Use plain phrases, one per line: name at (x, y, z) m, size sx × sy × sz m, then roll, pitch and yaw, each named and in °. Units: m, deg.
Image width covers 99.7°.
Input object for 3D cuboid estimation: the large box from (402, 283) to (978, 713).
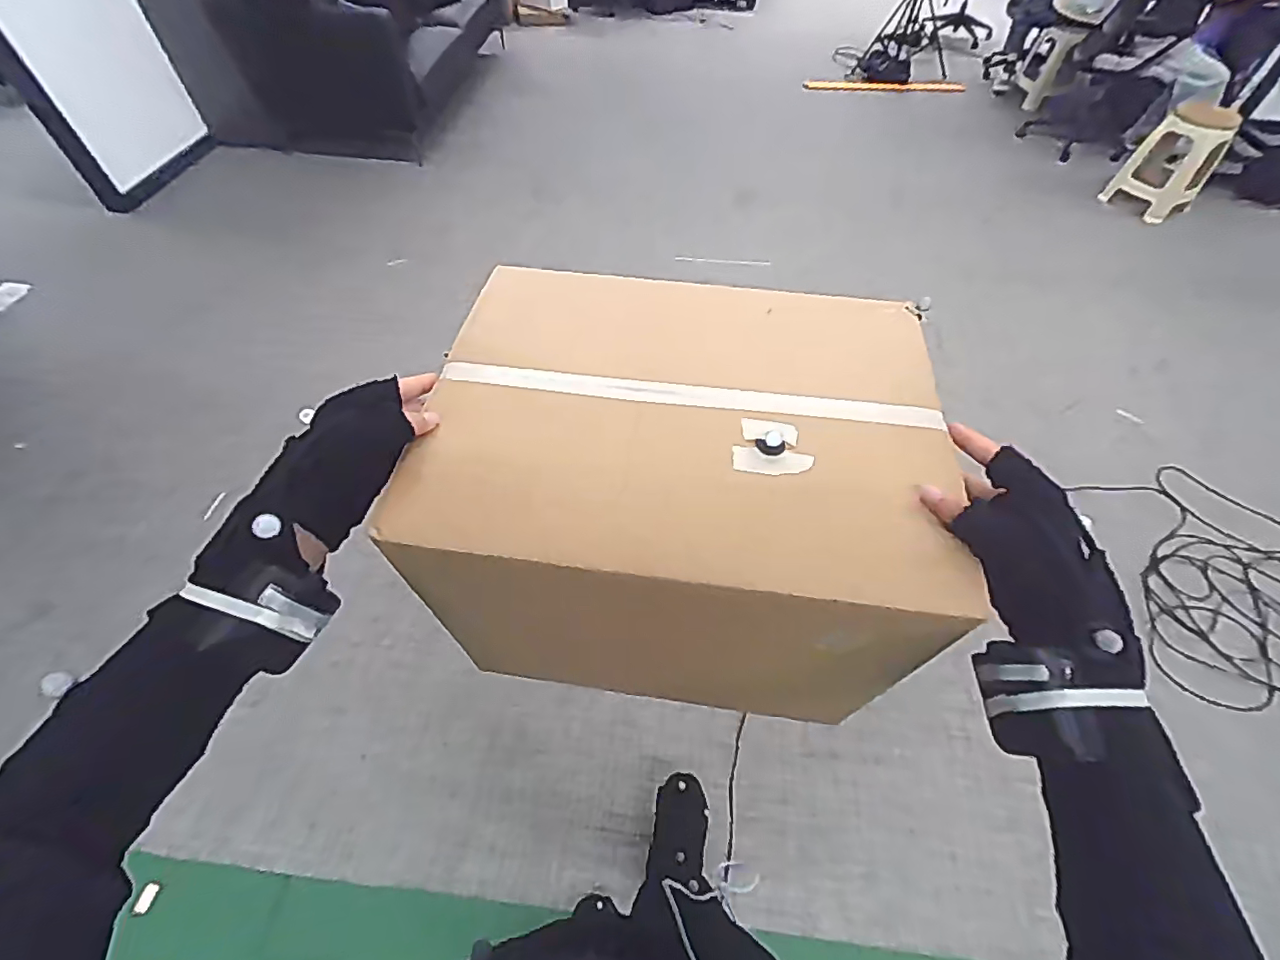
large box at (0.041, 0.029, 0.572) m, size 0.408 × 0.320 × 0.320 m, roll 7°, pitch 55°, yaw 3°
